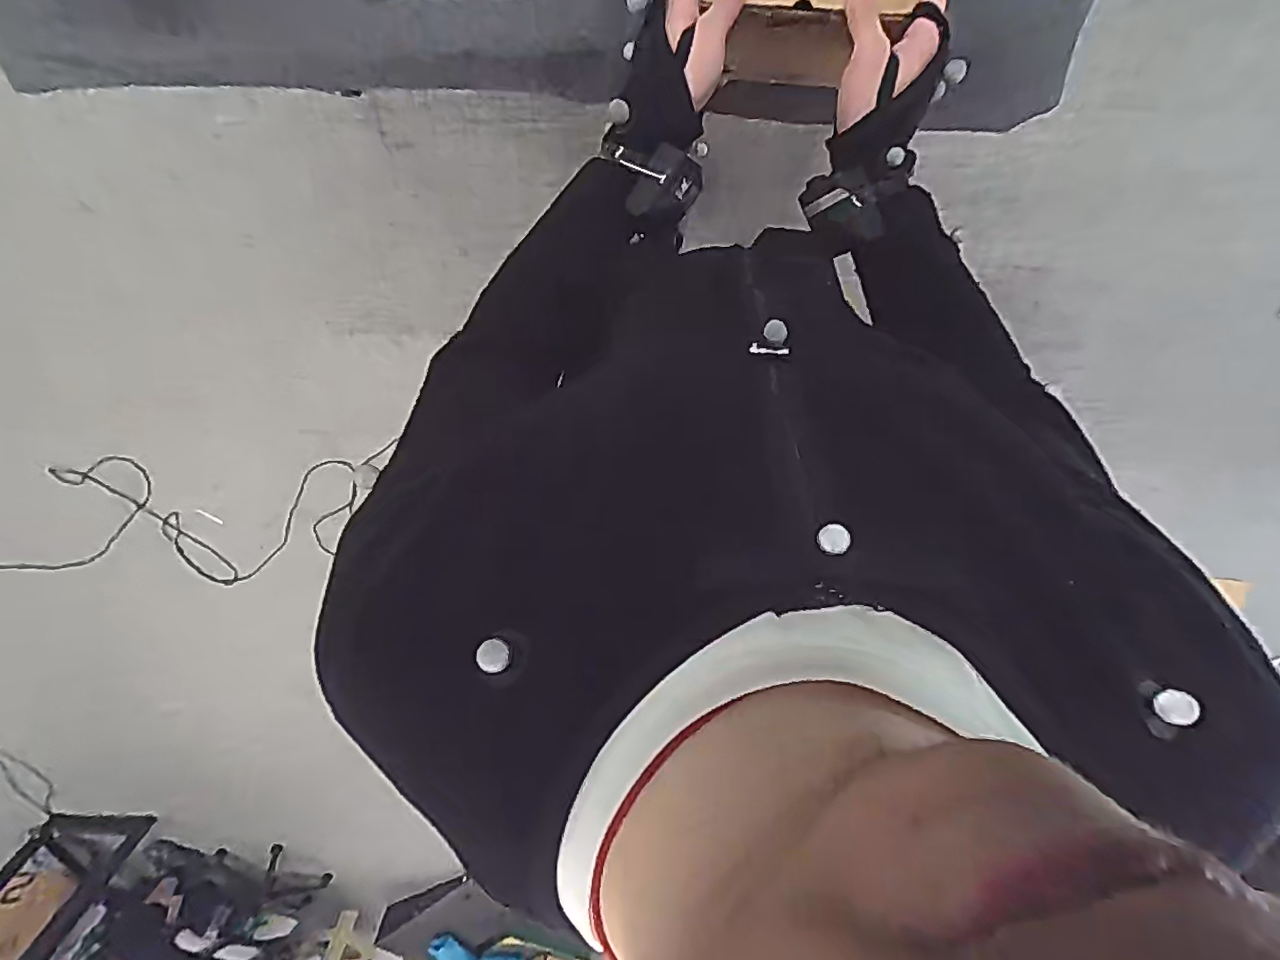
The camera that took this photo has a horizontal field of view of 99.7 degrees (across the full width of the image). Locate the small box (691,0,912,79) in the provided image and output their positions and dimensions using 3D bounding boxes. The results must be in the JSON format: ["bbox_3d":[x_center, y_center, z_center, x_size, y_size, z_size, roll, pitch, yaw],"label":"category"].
[{"bbox_3d":[0.134,-0.461,0.447,0.168,0.176,0.179,5,112,2],"label":"small box"}]
